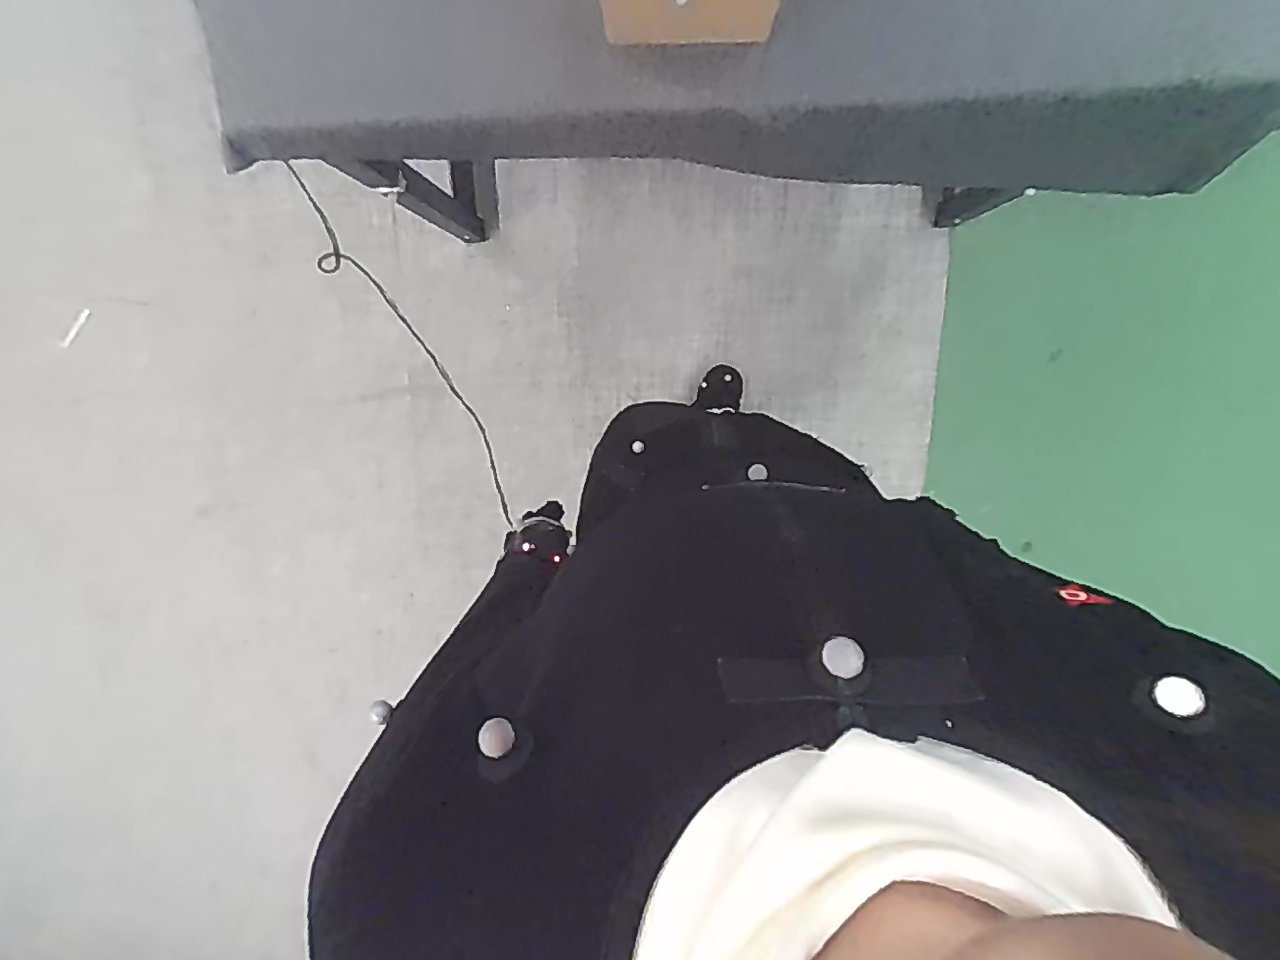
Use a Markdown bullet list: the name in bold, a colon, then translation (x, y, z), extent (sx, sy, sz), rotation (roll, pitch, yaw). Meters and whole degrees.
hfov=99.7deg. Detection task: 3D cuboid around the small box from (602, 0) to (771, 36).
- **small box**: translation (0.051, -0.545, 0.490), extent (0.179, 0.176, 0.168), rotation (4, 101, 2)
